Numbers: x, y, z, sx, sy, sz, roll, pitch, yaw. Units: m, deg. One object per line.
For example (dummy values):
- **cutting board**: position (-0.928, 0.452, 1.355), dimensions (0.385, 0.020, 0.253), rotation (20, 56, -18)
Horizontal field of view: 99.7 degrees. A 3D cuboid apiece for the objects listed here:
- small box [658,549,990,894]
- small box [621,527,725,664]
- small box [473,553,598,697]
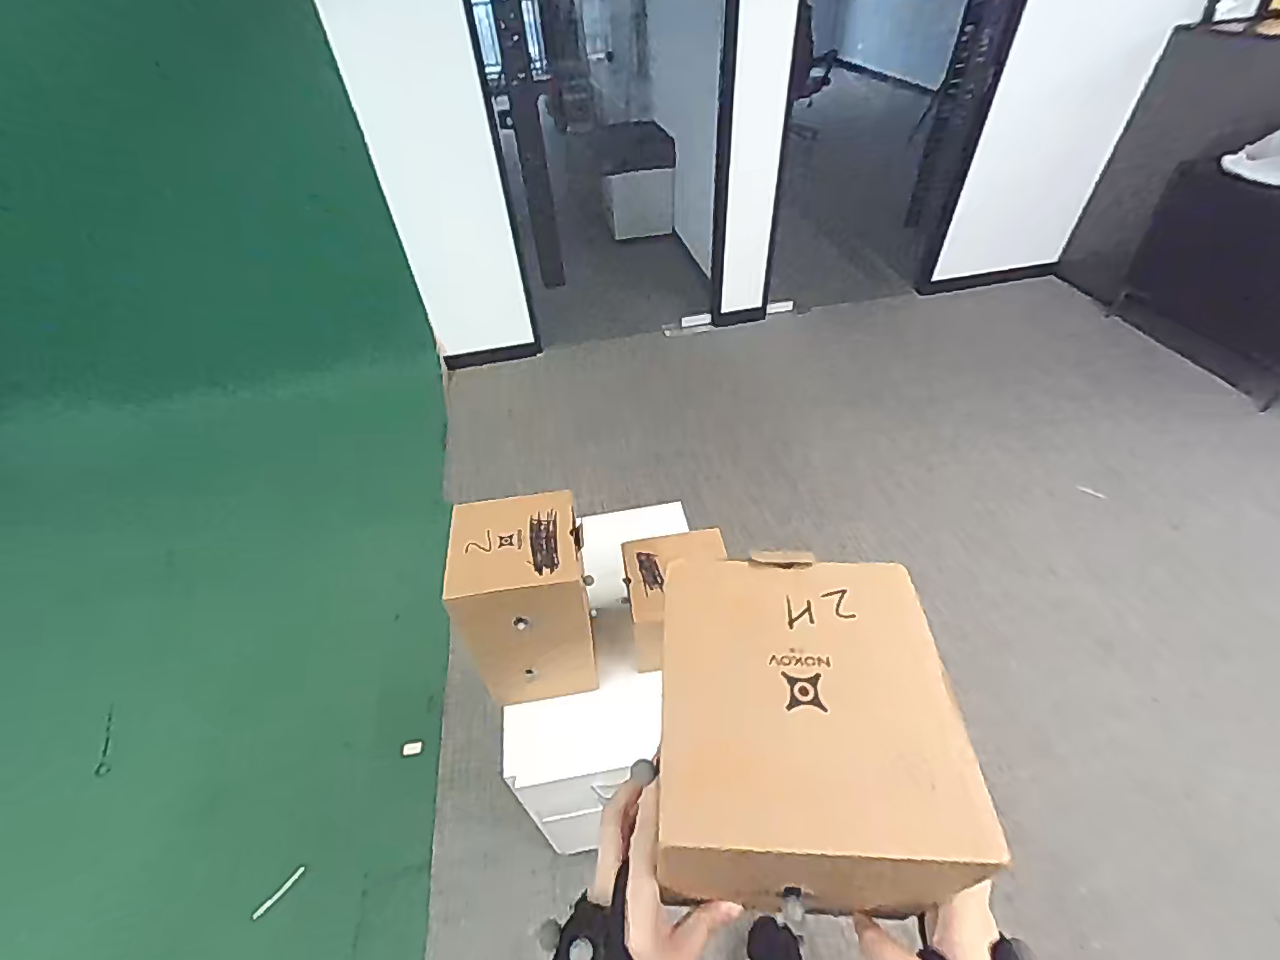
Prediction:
- **small box**: position (0.099, 0.171, 0.383), dimensions (0.168, 0.176, 0.179), rotation (2, 44, 3)
- **small box**: position (0.067, 0.206, 0.949), dimensions (0.179, 0.176, 0.168), rotation (-7, 46, -3)
- **small box**: position (-0.172, 0.249, 0.920), dimensions (0.179, 0.176, 0.168), rotation (-7, 46, -5)
